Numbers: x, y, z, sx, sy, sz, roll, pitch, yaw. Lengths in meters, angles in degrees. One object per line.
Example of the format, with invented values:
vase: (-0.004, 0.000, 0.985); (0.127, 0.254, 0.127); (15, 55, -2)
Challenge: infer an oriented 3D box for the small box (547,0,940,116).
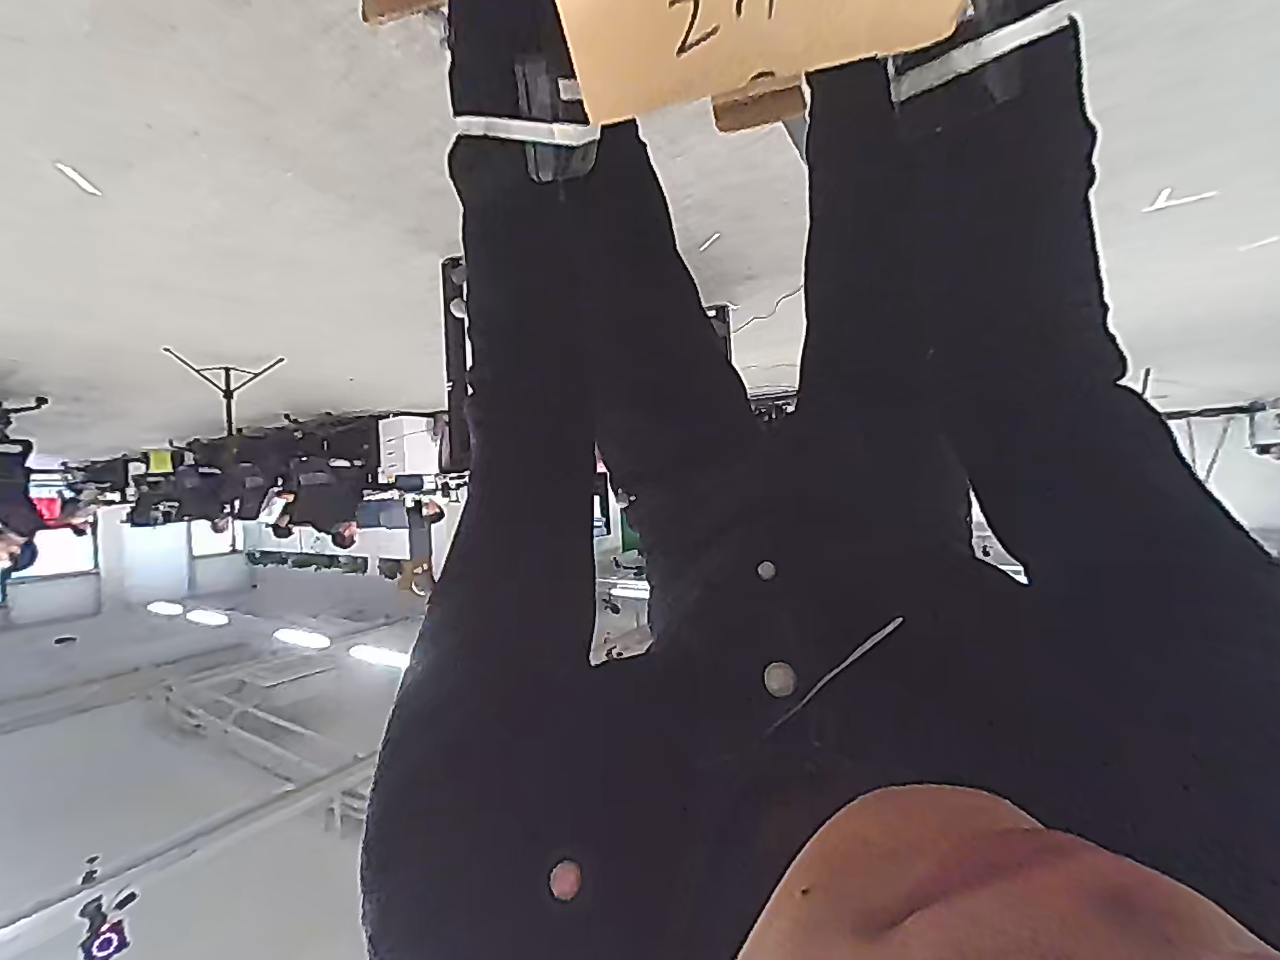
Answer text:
small box: (0.028, -0.287, 0.192); (0.168, 0.176, 0.179); (-9, 165, 7)
